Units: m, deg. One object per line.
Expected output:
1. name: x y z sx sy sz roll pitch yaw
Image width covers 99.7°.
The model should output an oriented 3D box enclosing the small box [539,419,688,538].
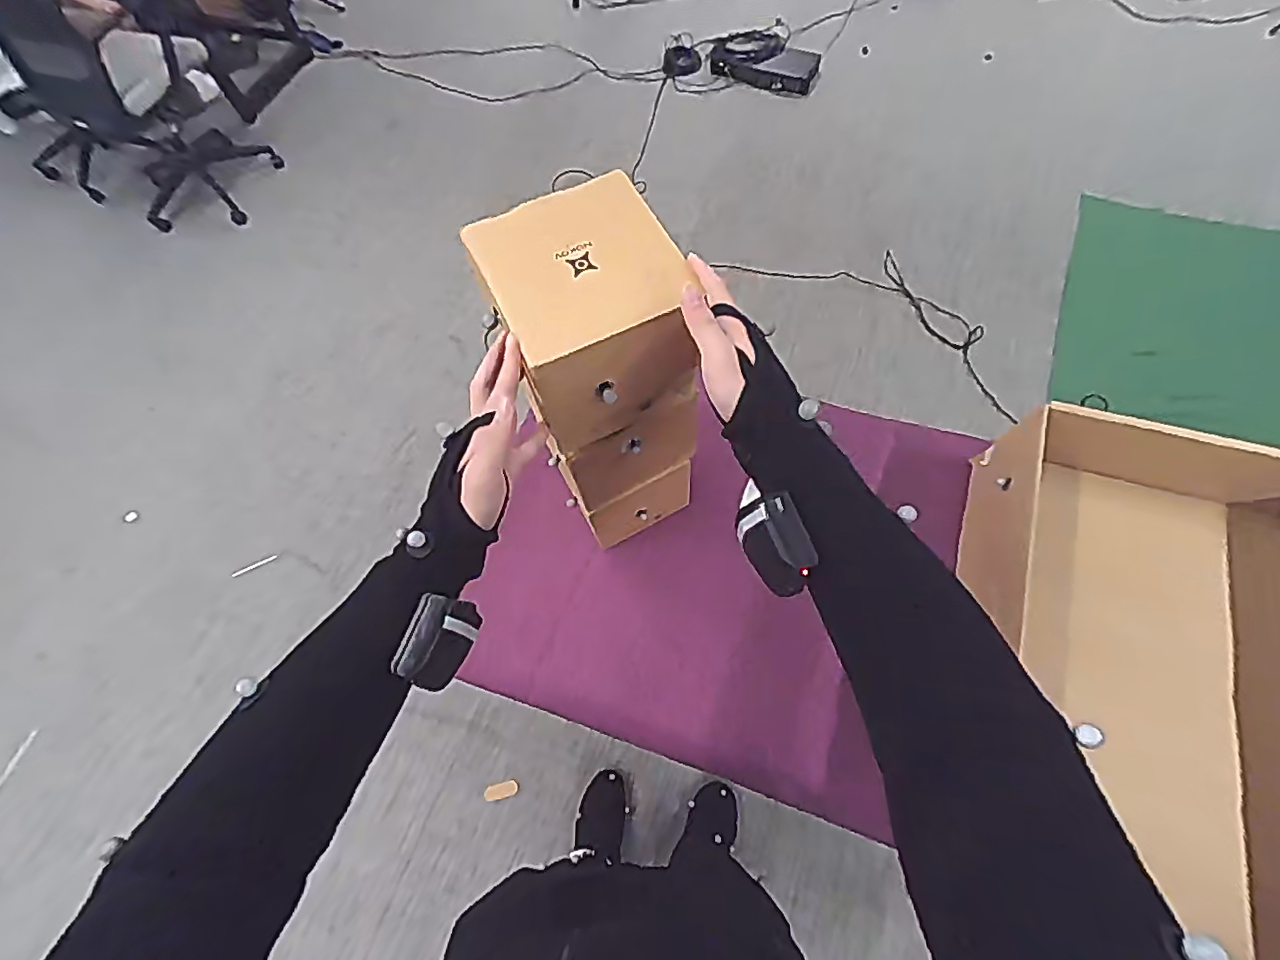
1. small box: -0.036 -0.025 0.856 0.168 0.176 0.179 -27 67 -9

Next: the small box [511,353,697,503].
1. small box: -0.039 -0.093 0.707 0.179 0.176 0.168 -27 68 -8

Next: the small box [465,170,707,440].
1. small box: -0.048 -0.161 0.547 0.168 0.176 0.179 -25 69 -9
